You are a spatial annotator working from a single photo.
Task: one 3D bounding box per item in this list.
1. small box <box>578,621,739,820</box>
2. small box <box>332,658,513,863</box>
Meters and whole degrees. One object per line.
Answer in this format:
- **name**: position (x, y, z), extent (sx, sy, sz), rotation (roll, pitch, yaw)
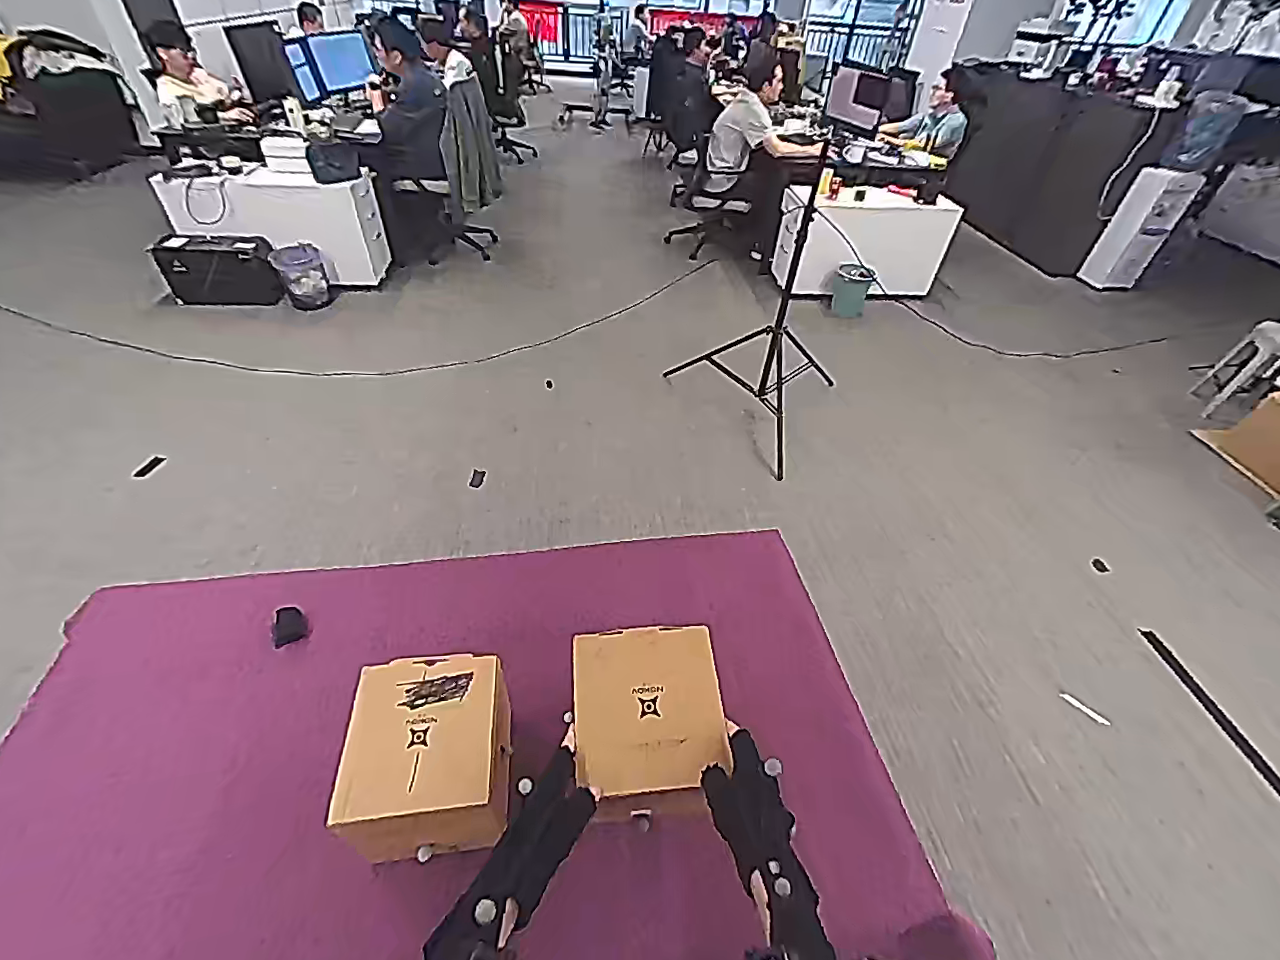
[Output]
- **small box**: position (0.011, 0.296, 0.664), extent (0.168, 0.176, 0.179), rotation (-4, 51, -5)
- **small box**: position (-0.254, 0.350, 0.680), extent (0.168, 0.176, 0.179), rotation (-3, 44, -8)
